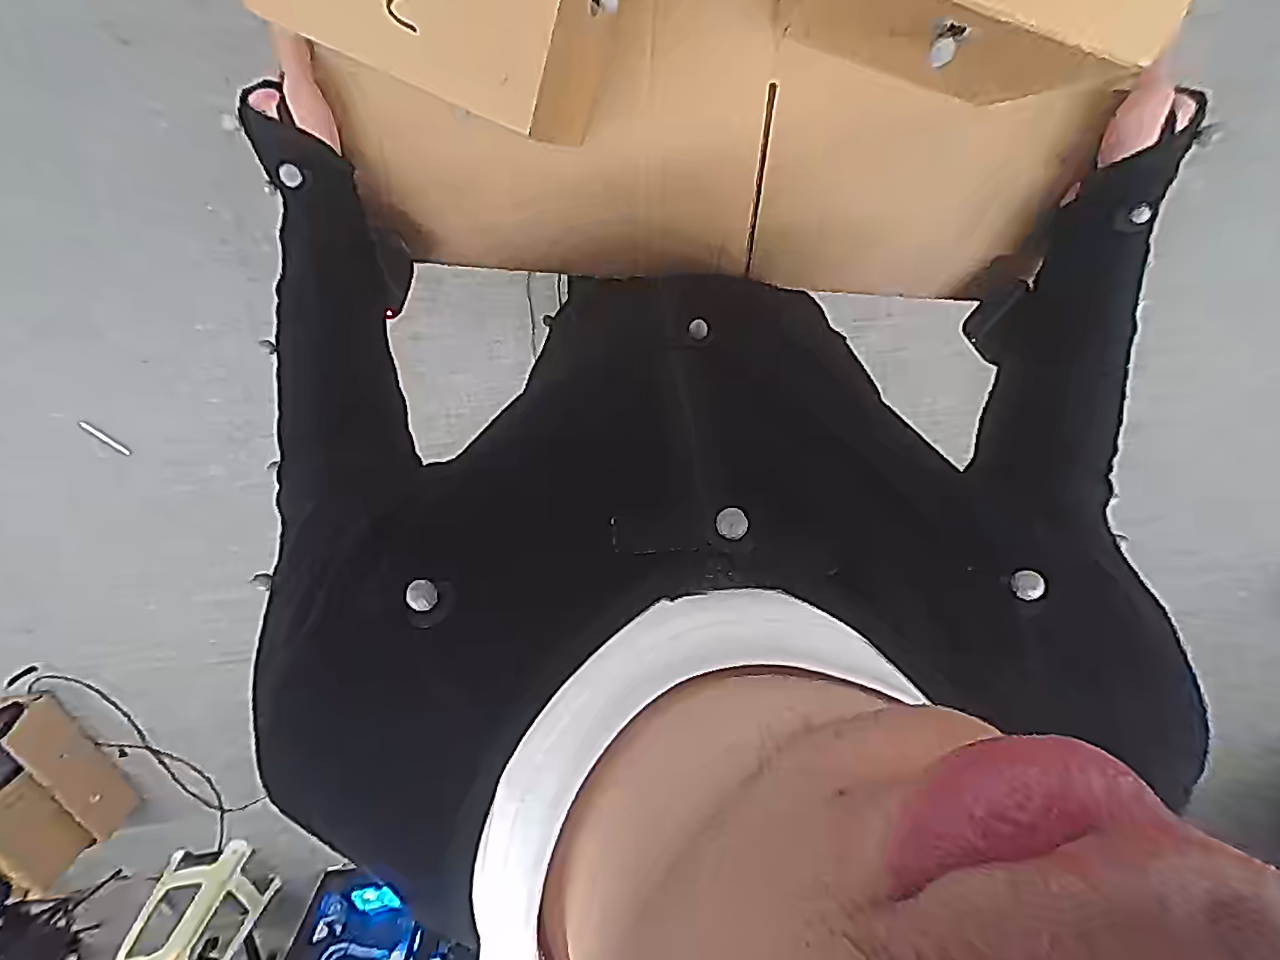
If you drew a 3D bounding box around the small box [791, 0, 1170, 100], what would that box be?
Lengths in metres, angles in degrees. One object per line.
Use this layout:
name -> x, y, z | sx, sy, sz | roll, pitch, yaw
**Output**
small box -> 0.214, -0.352, 0.324 | 0.179, 0.176, 0.168 | 16, 119, -4
